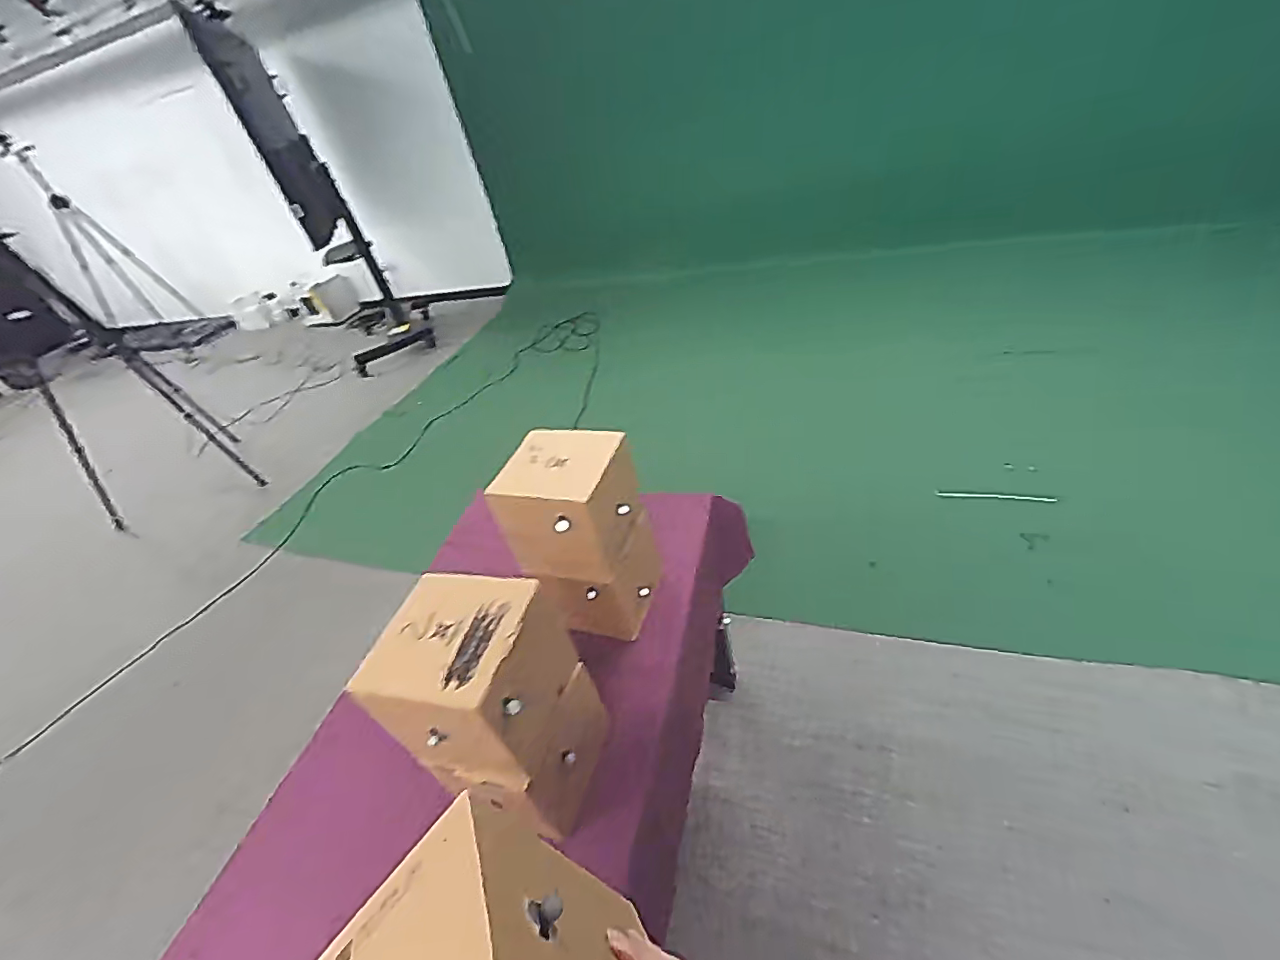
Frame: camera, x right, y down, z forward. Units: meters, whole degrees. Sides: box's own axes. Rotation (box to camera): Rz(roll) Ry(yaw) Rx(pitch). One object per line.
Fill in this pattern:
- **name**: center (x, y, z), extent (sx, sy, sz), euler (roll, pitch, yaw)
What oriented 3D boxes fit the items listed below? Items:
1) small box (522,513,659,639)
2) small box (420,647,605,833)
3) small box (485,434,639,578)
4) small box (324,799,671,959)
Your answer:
- **small box**: center (-0.082, 0.169, 0.992), extent (0.179, 0.176, 0.168), euler (4, 42, 22)
- **small box**: center (-0.165, 0.370, 0.769), extent (0.168, 0.176, 0.179), euler (3, 42, 22)
- **small box**: center (-0.115, 0.042, 0.891), extent (0.179, 0.176, 0.168), euler (3, 41, 22)
- **small box**: center (-0.078, 0.324, 0.305), extent (0.168, 0.179, 0.176), euler (-46, 18, -13)
